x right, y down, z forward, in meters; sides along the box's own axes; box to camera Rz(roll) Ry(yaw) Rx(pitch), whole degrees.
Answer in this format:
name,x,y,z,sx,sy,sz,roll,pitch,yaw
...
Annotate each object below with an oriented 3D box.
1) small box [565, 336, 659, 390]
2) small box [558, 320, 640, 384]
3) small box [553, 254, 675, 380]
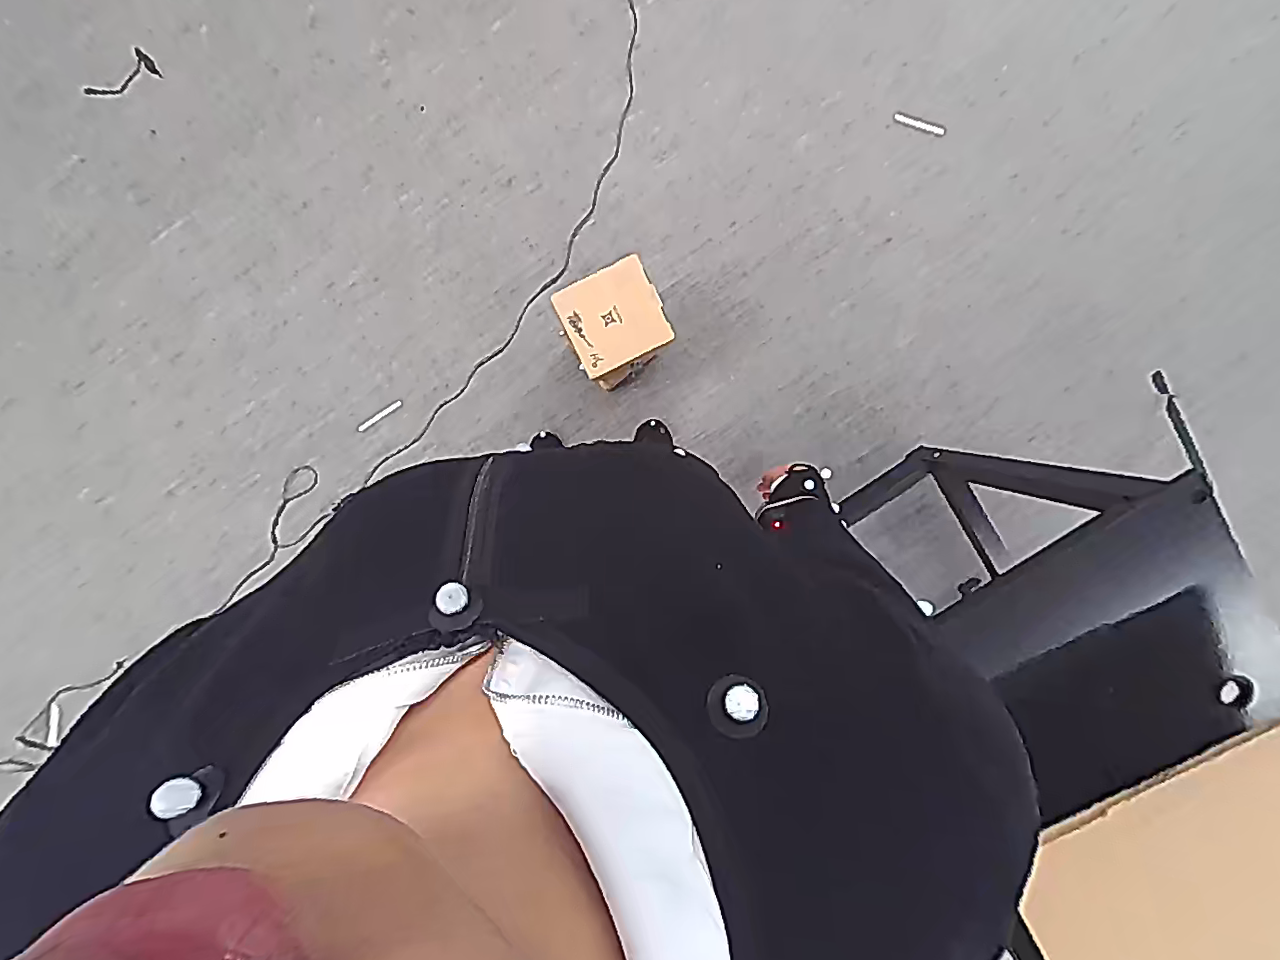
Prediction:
name,x,y,z,sx,sy,sz,roll,pitch,yaw
small box,-0.069,-0.346,1.374,0.179,0.176,0.168,-37,97,4
small box,-0.060,-0.330,1.213,0.179,0.176,0.168,-41,98,2
small box,-0.052,-0.307,1.051,0.179,0.176,0.168,-26,98,1
